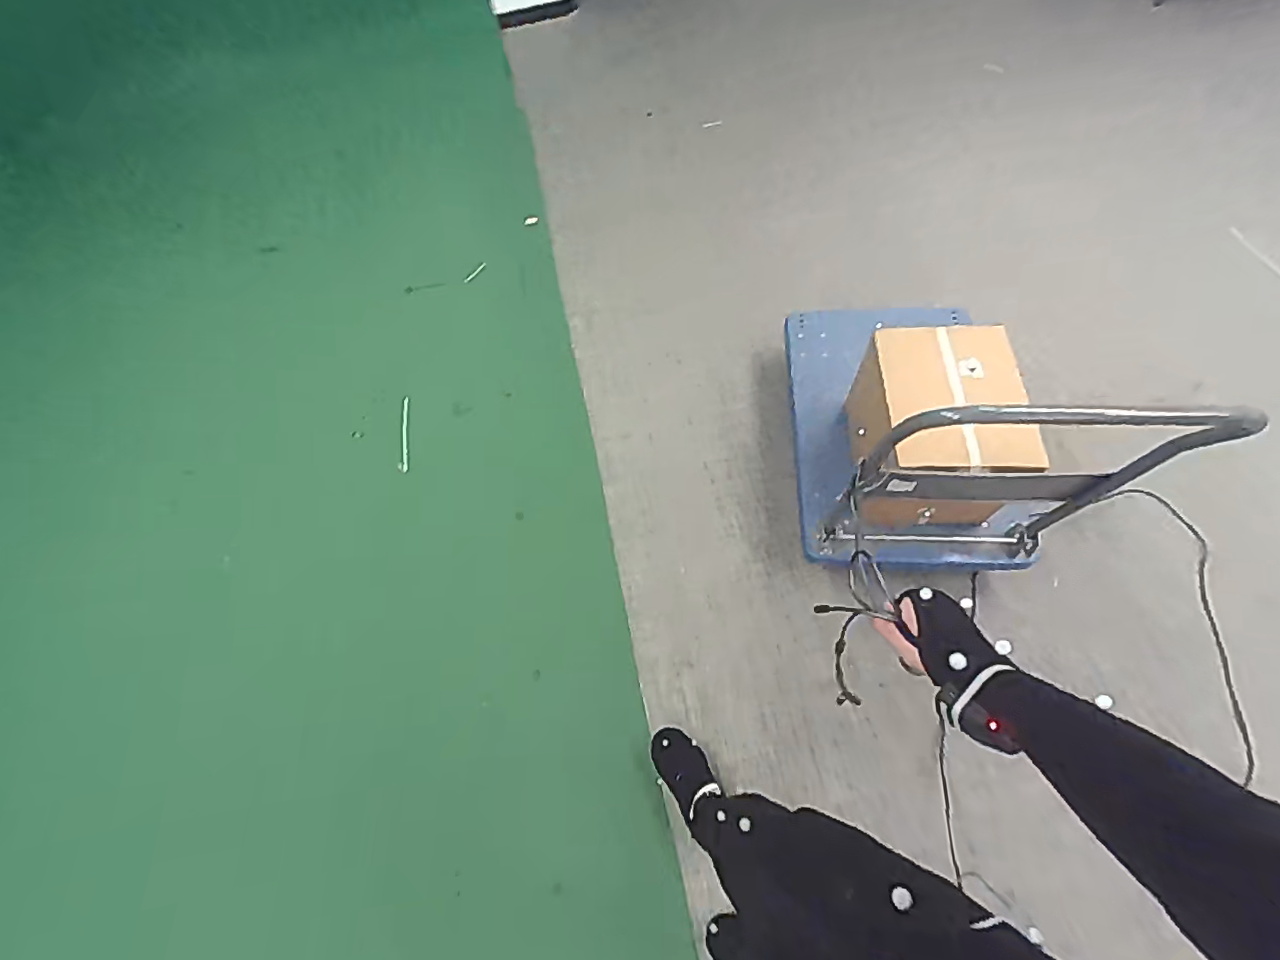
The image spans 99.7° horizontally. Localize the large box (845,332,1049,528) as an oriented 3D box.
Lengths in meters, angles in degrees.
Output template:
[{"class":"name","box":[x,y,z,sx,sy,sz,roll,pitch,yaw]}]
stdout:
[{"class":"large box","box":[0.737,-0.117,1.378,0.320,0.320,0.408,0,61,6]}]
